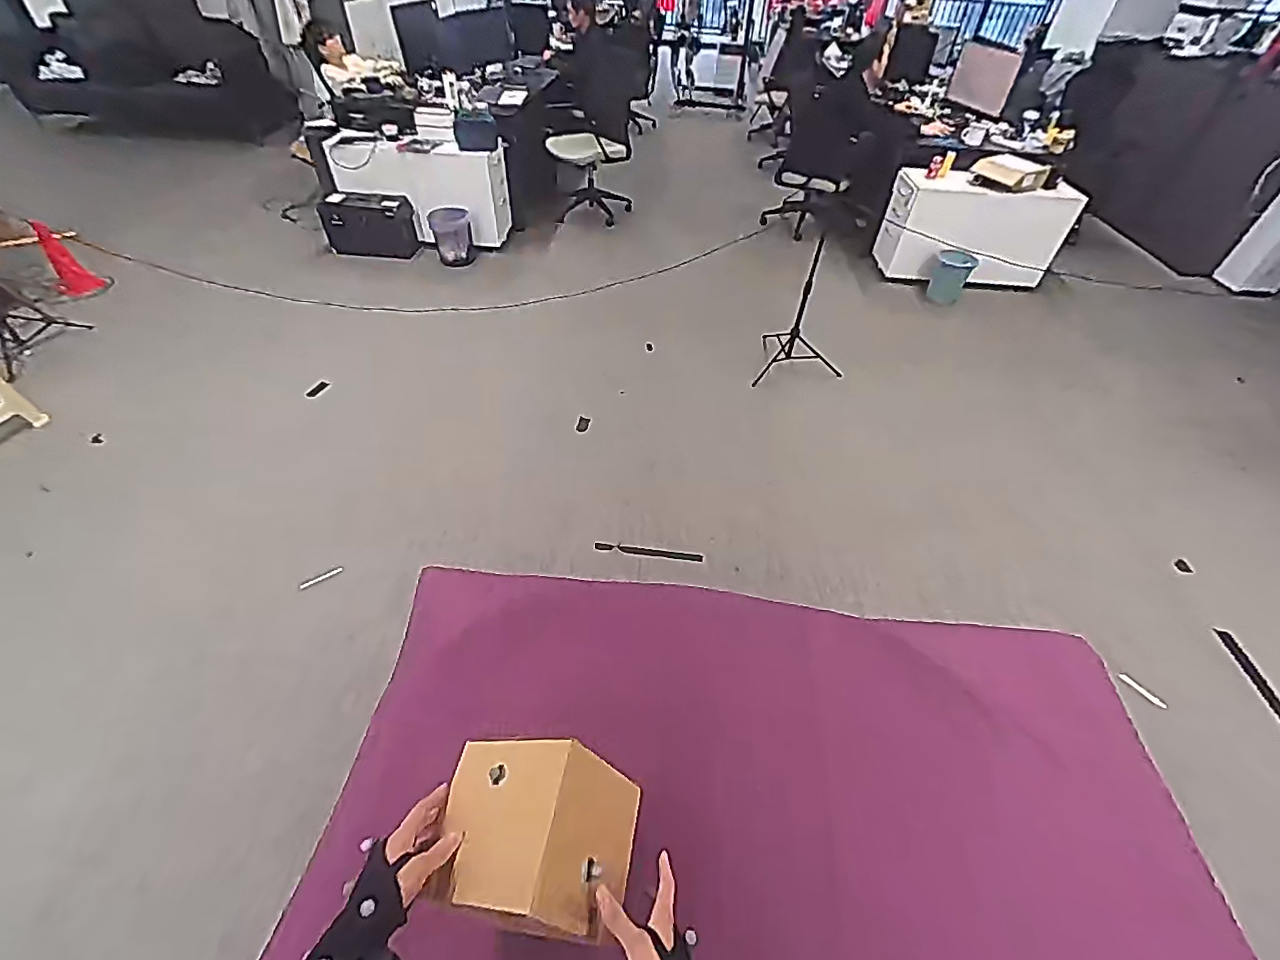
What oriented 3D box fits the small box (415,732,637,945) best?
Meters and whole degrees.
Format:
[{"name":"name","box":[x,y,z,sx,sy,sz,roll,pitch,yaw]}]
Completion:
[{"name":"small box","box":[-0.129,0.425,0.648,0.179,0.168,0.176,-16,39,27]}]
